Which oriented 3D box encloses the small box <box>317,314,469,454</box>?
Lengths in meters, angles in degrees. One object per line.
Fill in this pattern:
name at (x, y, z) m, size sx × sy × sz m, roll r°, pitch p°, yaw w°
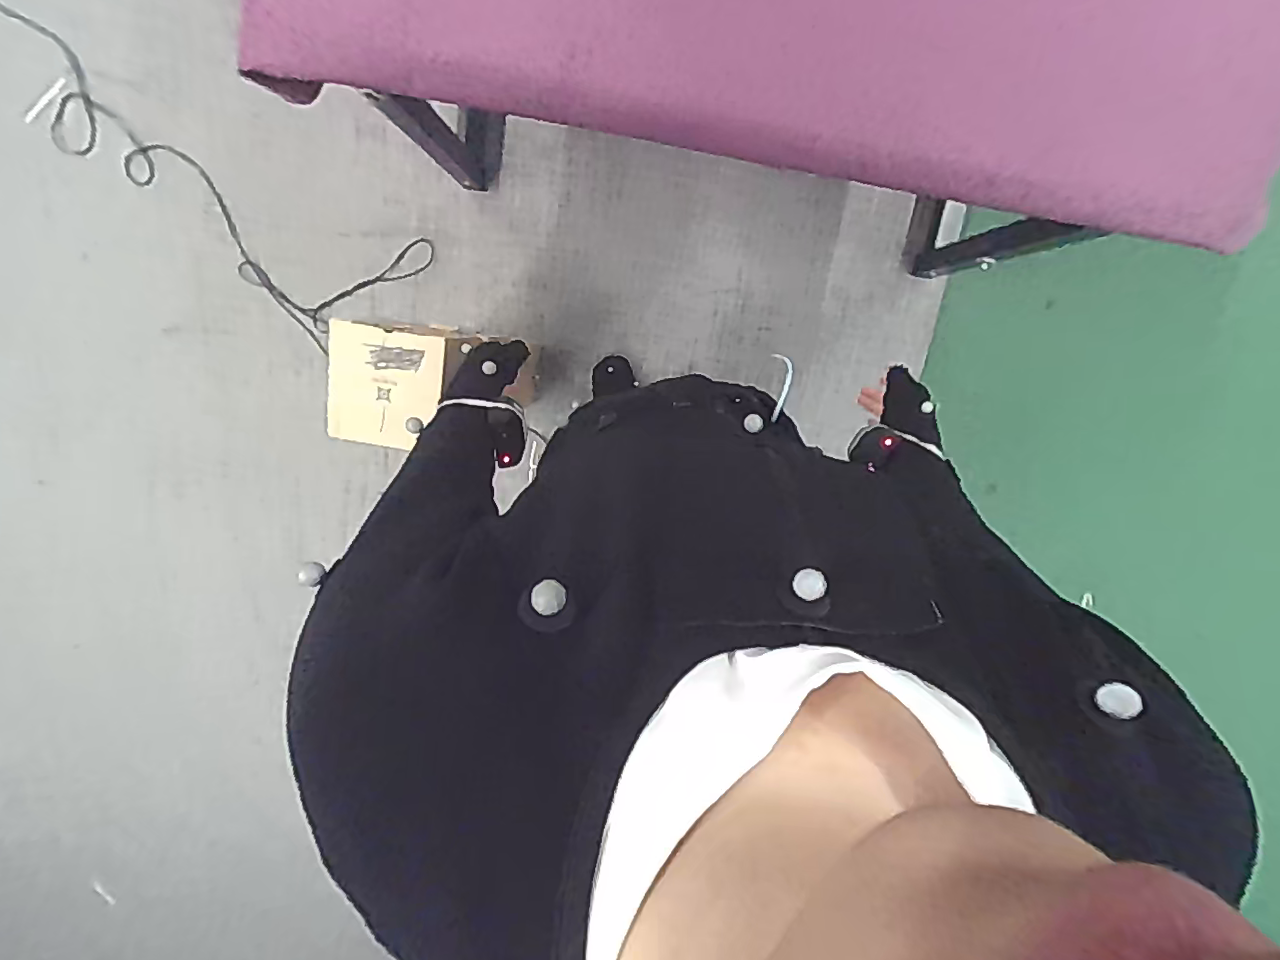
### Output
small box at (-0.381, -0.158, 0.858) m, size 0.168 × 0.176 × 0.179 m, roll 11°, pitch 106°, yaw -3°
